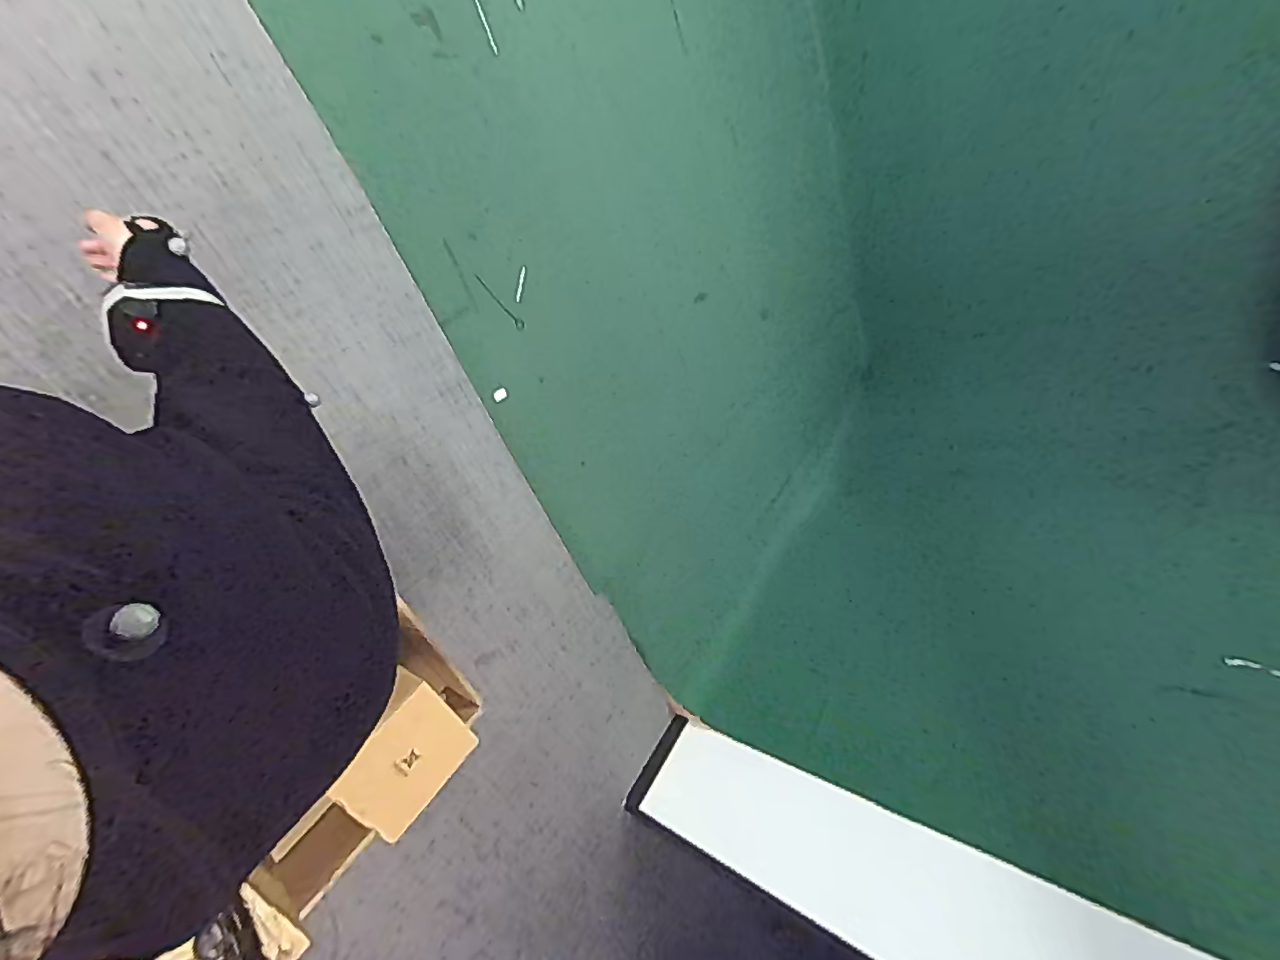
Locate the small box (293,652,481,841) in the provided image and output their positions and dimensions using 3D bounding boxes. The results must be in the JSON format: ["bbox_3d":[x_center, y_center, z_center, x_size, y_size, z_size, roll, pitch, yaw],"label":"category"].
[{"bbox_3d":[-0.391,0.400,0.840,0.179,0.176,0.168,-46,126,-33],"label":"small box"}]

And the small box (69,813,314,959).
[{"bbox_3d":[-0.558,0.559,0.675,0.168,0.176,0.179,-39,122,-37],"label":"small box"}]
